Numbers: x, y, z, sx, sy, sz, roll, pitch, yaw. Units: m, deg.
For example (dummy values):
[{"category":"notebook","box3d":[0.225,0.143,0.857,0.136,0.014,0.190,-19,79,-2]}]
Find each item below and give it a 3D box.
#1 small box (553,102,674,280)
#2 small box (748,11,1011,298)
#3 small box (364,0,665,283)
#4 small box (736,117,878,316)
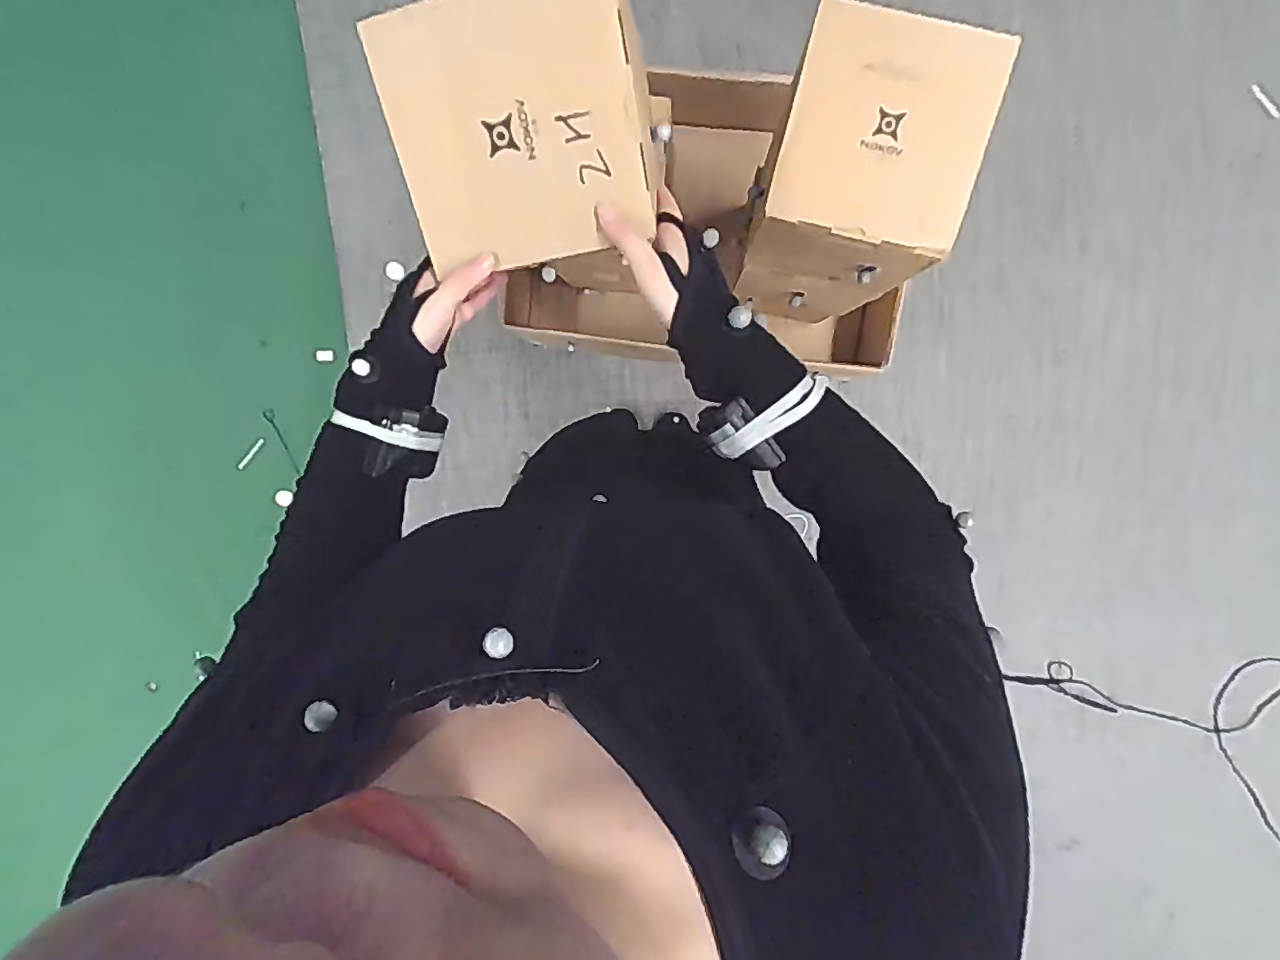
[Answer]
[{"category":"small box","box3d":[-0.051,-0.373,0.715,0.179,0.176,0.168,7,99,3]},{"category":"small box","box3d":[0.210,-0.295,0.534,0.168,0.176,0.179,15,99,3]},{"category":"small box","box3d":[-0.081,-0.267,0.452,0.179,0.176,0.168,-6,114,10]},{"category":"small box","box3d":[0.226,-0.321,0.694,0.168,0.176,0.179,15,100,3]}]
